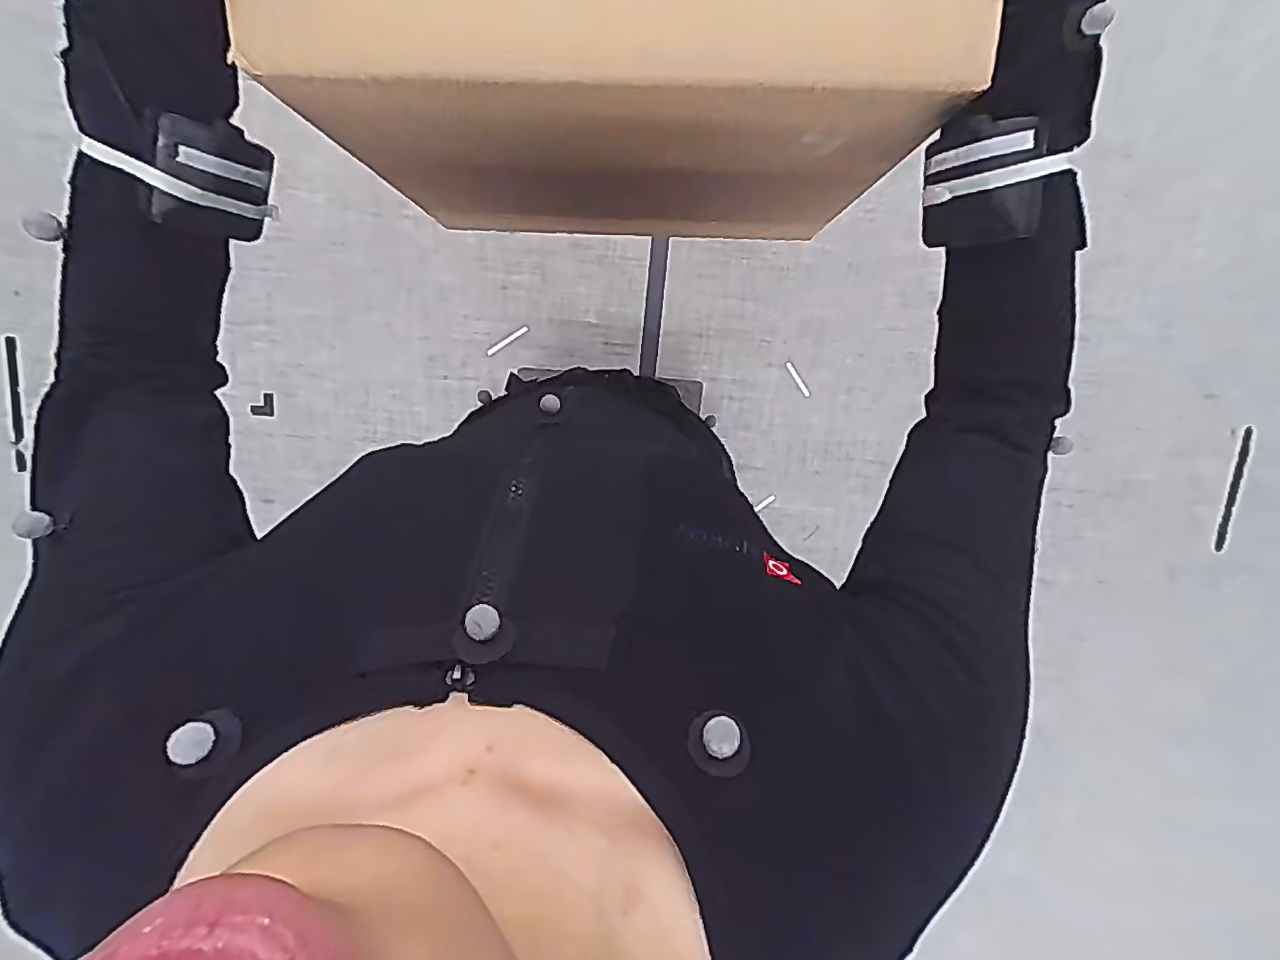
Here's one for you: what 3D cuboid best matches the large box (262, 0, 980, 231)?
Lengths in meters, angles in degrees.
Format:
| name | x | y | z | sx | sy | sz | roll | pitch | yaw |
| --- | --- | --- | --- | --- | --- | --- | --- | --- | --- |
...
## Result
| name | x | y | z | sx | sy | sz | roll | pitch | yaw |
| --- | --- | --- | --- | --- | --- | --- | --- | --- | --- |
| large box | -0.011 | -0.401 | 0.426 | 0.408 | 0.320 | 0.320 | 1 | 101 | -1 |
